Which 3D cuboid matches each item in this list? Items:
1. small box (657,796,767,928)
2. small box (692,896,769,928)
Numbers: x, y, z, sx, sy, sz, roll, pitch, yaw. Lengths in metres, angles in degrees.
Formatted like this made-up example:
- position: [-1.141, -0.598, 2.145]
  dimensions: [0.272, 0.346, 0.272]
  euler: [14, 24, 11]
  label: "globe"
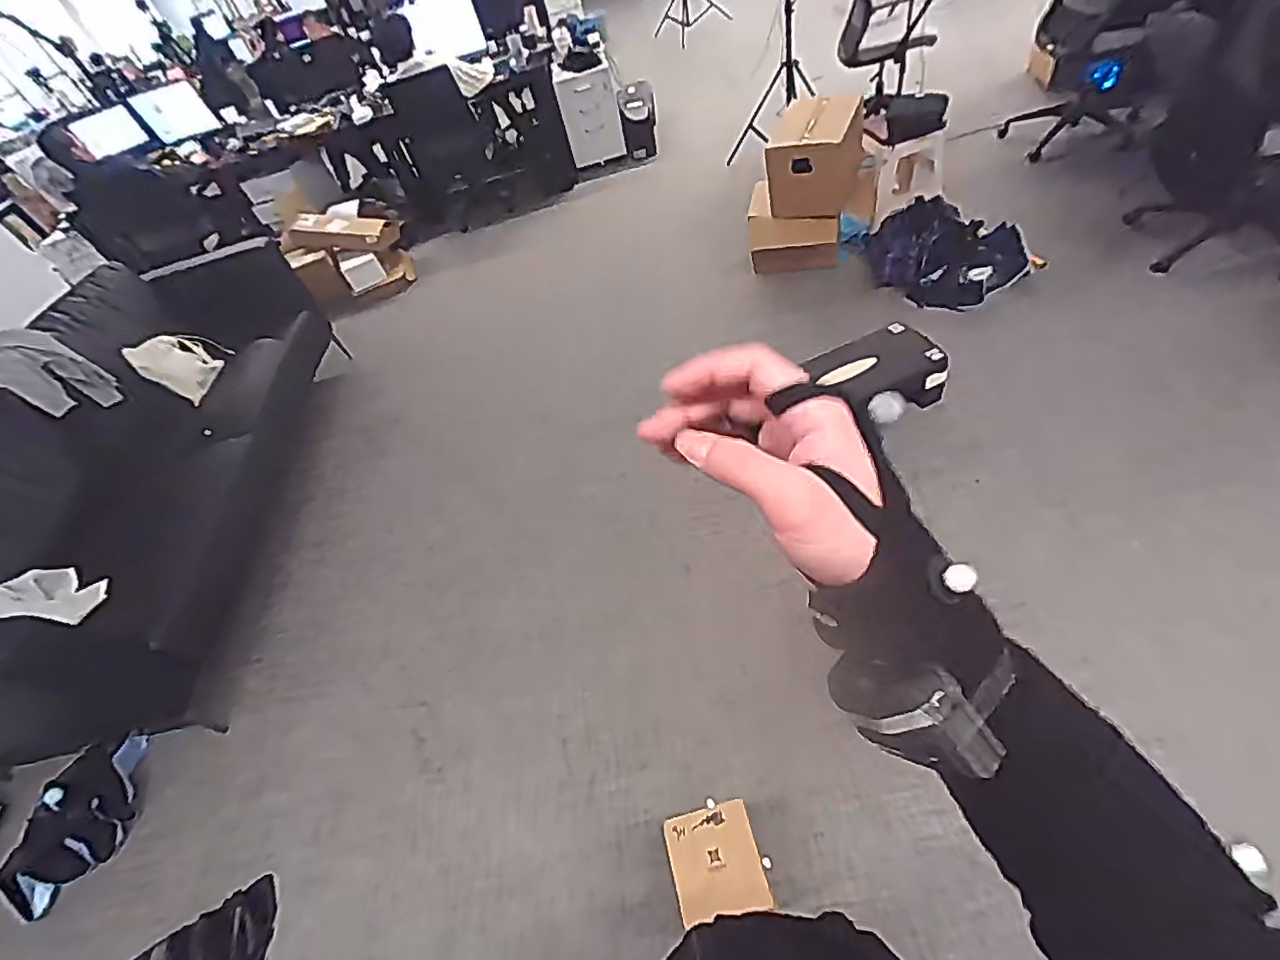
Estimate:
- position: [0.145, 0.754, 1.069]
  dimensions: [0.168, 0.176, 0.179]
  euler: [-17, 49, 2]
  label: "small box"
- position: [0.176, 0.858, 1.191]
  dimensions: [0.168, 0.176, 0.179]
  euler: [-19, 49, 1]
  label: "small box"
